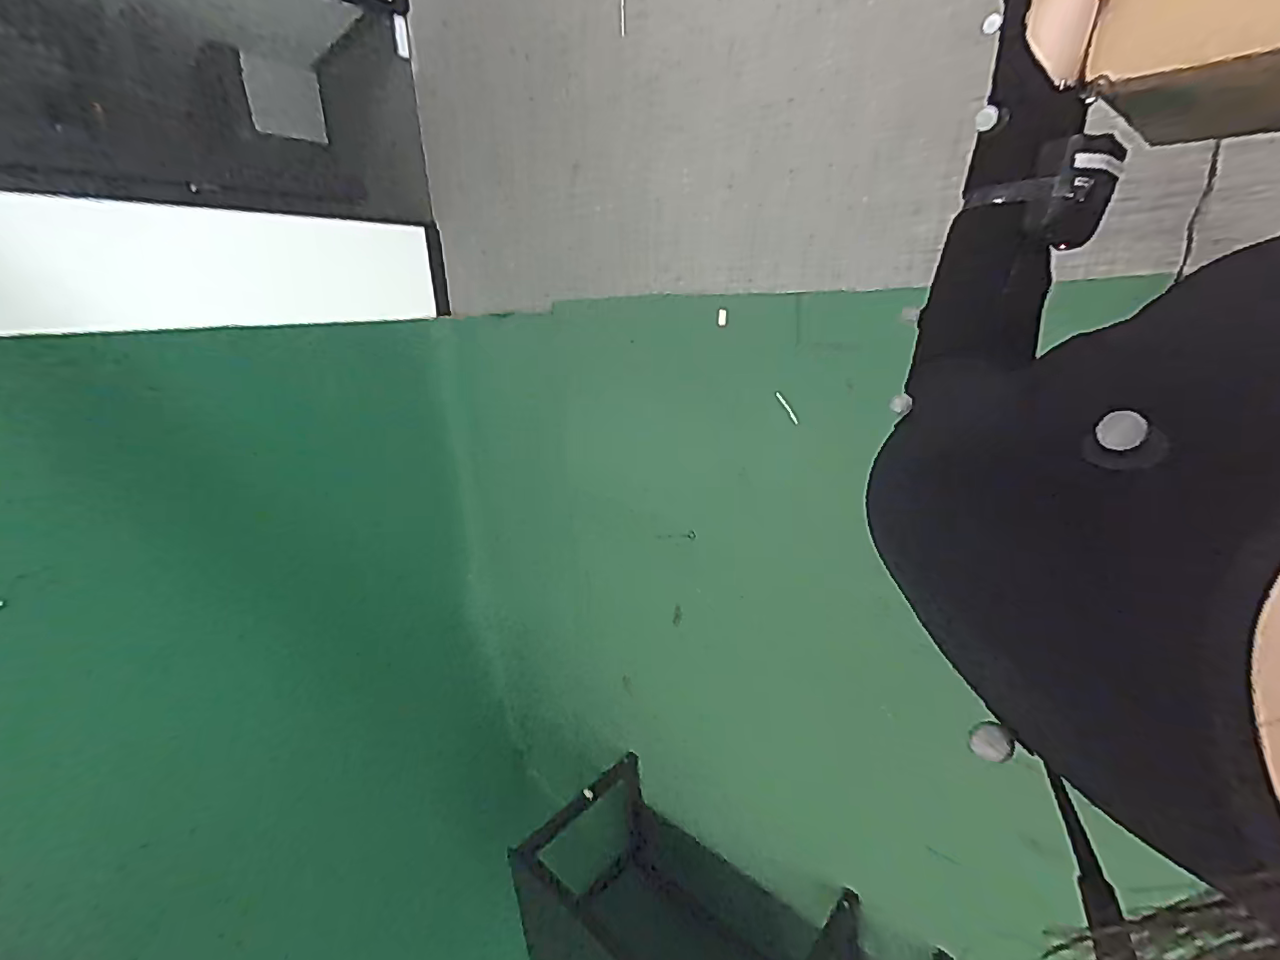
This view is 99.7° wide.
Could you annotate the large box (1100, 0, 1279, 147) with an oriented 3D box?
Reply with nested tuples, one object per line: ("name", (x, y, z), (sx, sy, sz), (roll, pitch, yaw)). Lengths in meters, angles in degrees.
("large box", (0.549, -0.408, 0.280), (0.408, 0.320, 0.320), (19, 118, 43))
